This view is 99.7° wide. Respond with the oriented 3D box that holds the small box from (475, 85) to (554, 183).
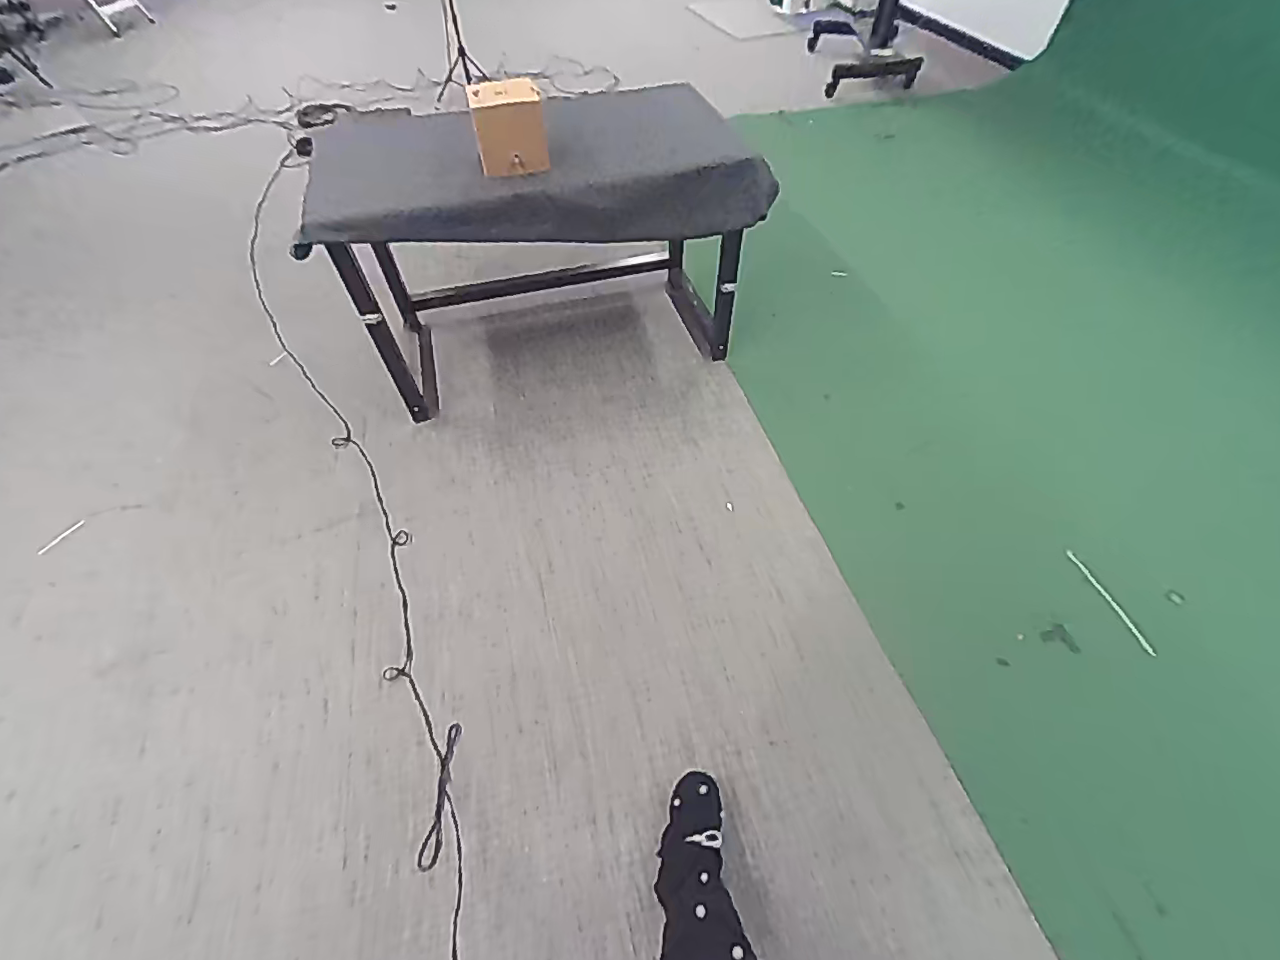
[{"bbox_3d":[-0.330,-0.921,1.444,0.179,0.176,0.168,-13,53,-8],"label":"small box"}]
